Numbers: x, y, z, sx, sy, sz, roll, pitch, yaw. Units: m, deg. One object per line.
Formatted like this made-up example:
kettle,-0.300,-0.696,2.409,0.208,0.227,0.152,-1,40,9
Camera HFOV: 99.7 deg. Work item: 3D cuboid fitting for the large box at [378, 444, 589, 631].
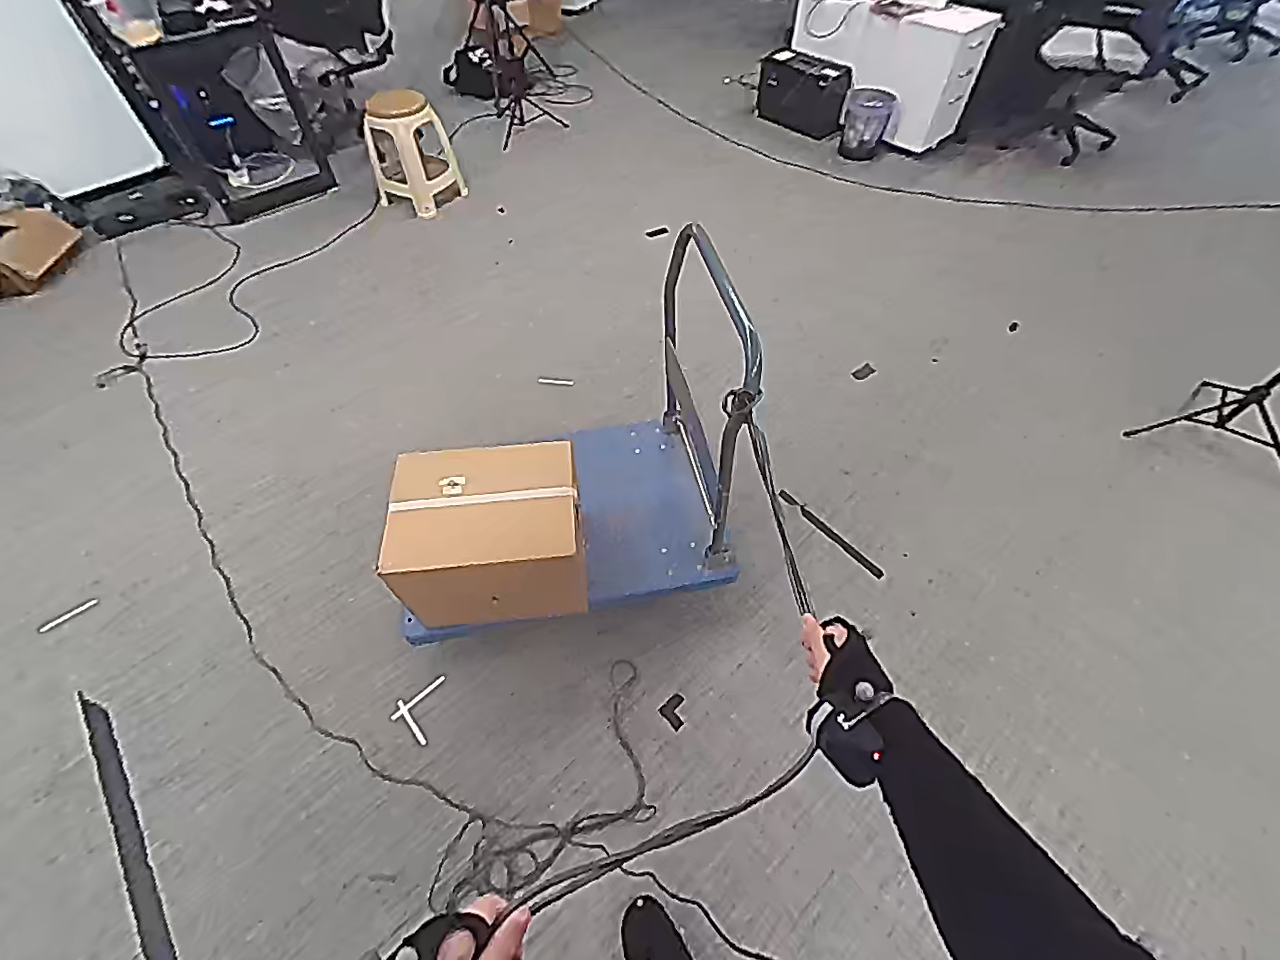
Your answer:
large box,-0.344,0.145,1.300,0.408,0.320,0.320,-6,54,-3
